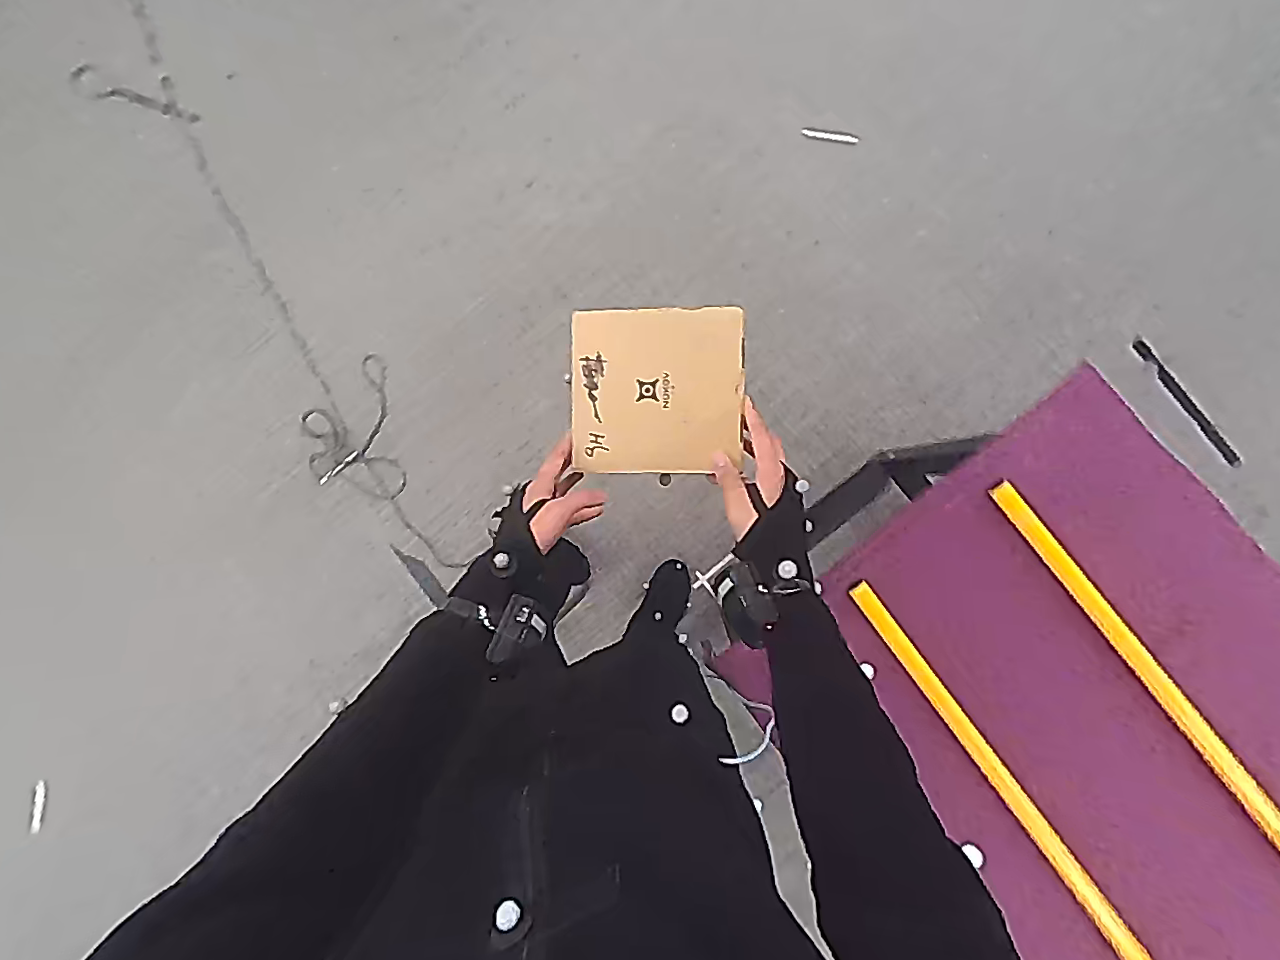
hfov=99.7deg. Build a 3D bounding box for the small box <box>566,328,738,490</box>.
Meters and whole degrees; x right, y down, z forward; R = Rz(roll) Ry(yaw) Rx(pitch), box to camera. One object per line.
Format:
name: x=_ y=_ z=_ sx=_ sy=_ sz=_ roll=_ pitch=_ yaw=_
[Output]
small box: x=0.019 y=-0.076 z=0.629 sx=0.179 sy=0.176 sz=0.168 roll=0 pitch=92 yaw=7
